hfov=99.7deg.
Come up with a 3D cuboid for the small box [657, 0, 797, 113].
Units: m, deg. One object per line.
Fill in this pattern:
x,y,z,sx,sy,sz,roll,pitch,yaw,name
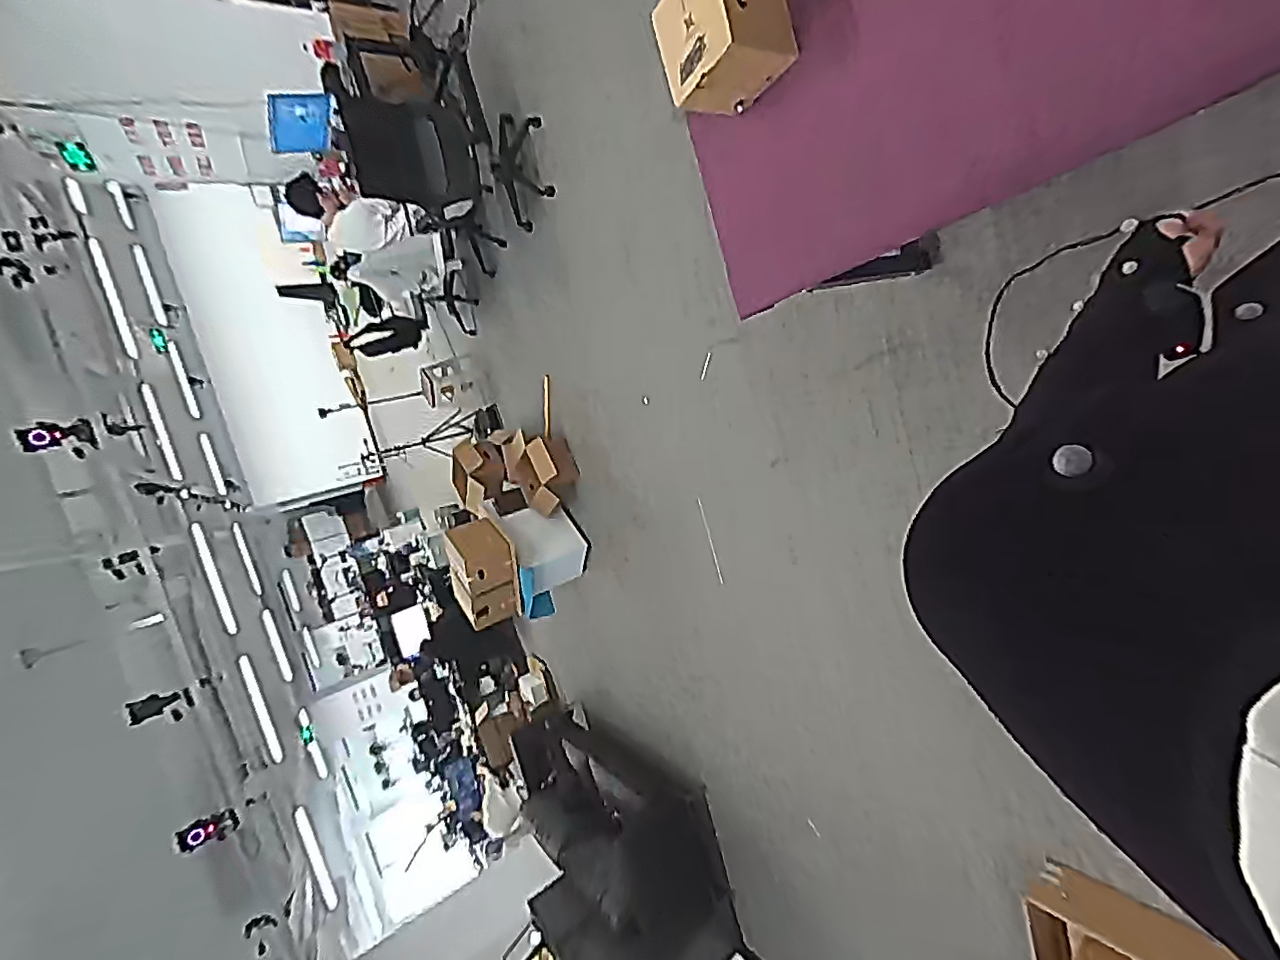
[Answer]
0.162,-0.807,0.988,0.168,0.176,0.179,-9,98,58,small box
